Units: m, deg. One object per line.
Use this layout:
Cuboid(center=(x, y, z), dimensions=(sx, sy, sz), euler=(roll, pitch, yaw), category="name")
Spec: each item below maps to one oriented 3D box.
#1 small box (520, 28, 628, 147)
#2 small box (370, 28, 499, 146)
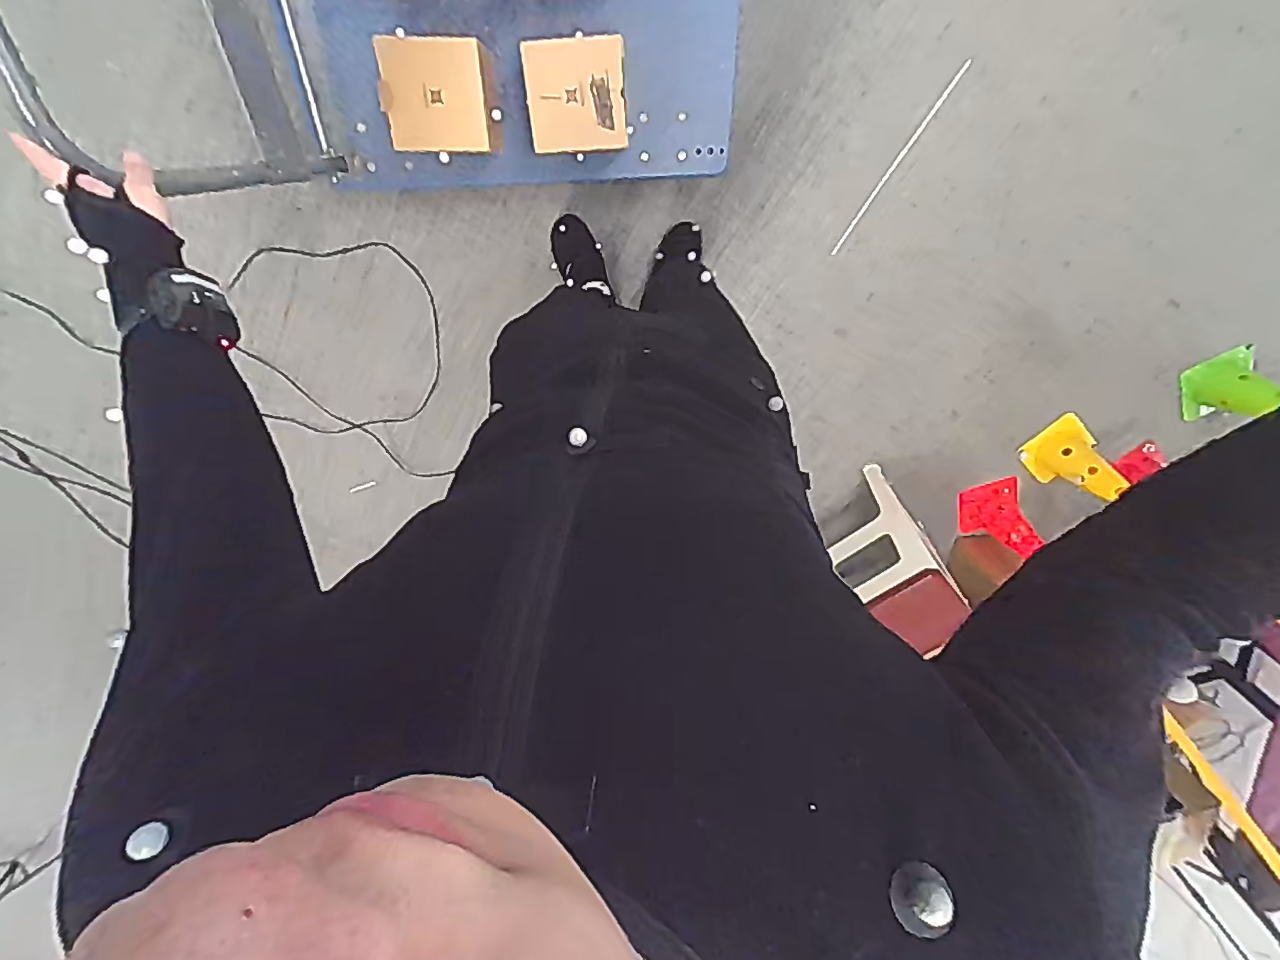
Cuboid(center=(-0.115, -0.725, 1.011), dimensions=(0.179, 0.176, 0.168), euler=(-3, 122, 0), category="small box")
Cuboid(center=(-0.365, -0.720, 1.004), dimensions=(0.179, 0.176, 0.168), euler=(-1, 122, -2), category="small box")
